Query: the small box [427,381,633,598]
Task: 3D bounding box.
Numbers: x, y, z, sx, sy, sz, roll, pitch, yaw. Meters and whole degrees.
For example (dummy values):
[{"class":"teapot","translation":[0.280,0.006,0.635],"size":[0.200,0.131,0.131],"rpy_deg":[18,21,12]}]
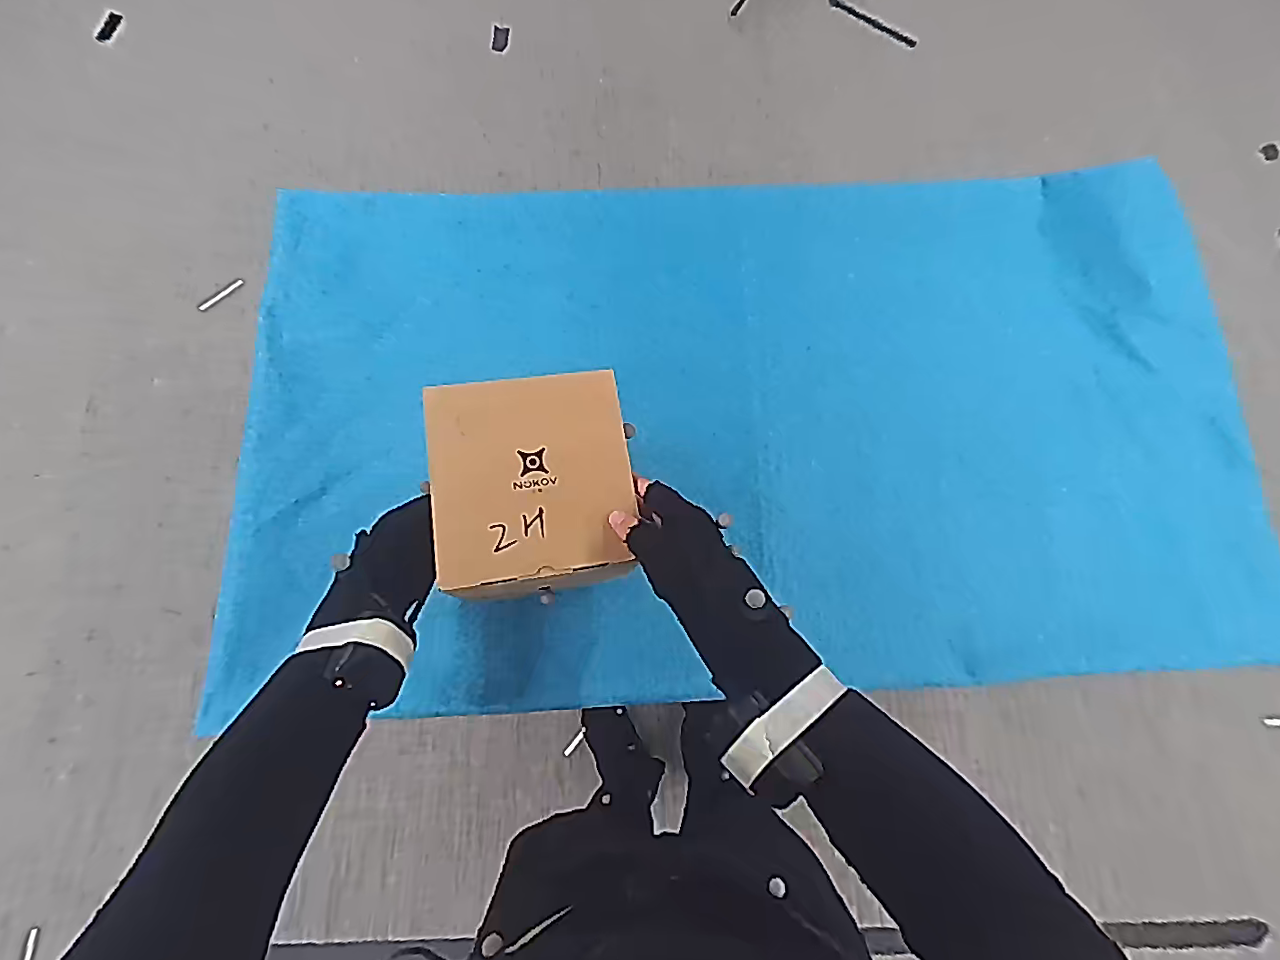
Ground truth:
[{"class":"small box","translation":[-0.103,0.018,0.529],"size":[0.168,0.176,0.179],"rpy_deg":[-4,78,-8]}]
